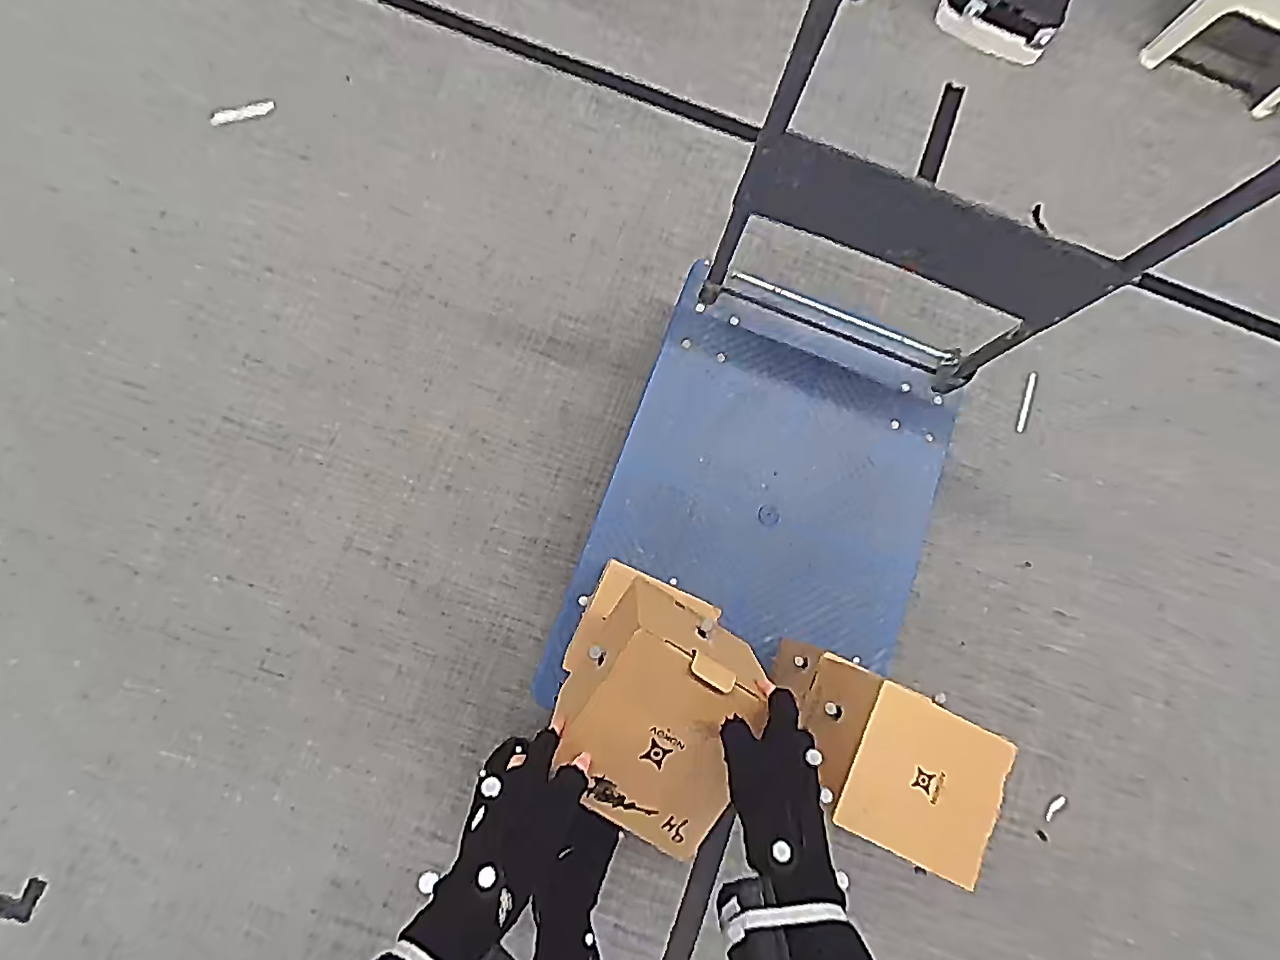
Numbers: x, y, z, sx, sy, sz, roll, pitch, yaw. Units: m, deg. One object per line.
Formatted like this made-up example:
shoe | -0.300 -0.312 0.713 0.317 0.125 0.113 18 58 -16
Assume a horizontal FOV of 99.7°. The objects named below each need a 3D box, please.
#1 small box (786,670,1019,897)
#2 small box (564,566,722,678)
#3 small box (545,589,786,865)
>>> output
small box | 0.309 0.354 0.674 0.179 0.176 0.168 28 79 -2
small box | 0.000 0.240 0.830 0.179 0.176 0.168 25 79 0
small box | 0.020 0.242 0.579 0.168 0.176 0.179 33 93 -3
